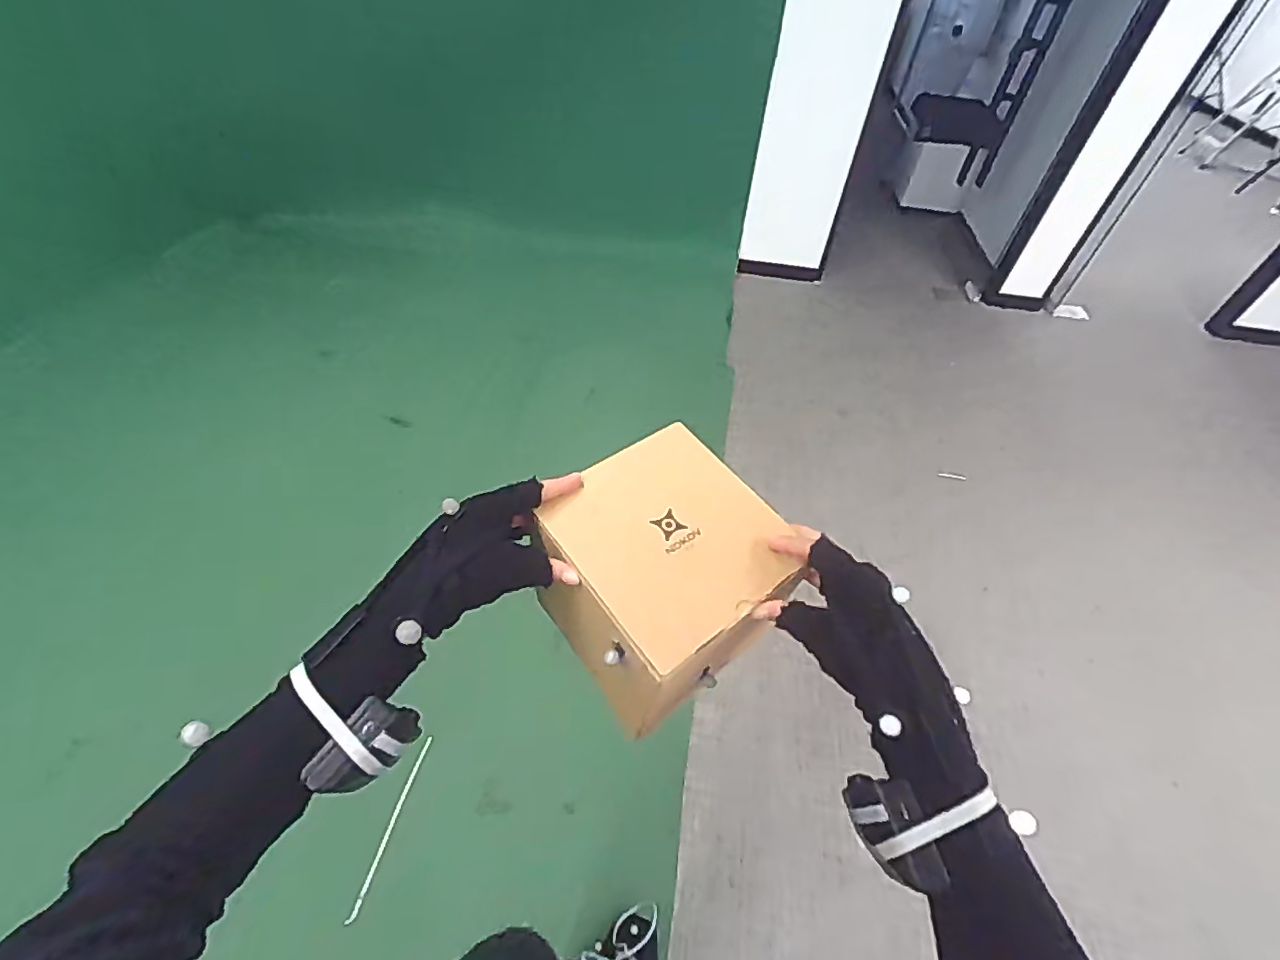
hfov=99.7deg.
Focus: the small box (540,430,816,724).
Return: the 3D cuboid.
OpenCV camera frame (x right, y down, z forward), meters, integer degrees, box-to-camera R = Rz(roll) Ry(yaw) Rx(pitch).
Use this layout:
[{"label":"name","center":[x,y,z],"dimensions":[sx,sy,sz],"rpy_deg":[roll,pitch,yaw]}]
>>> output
[{"label":"small box","center":[0.020,0.091,0.504],"dimensions":[0.168,0.176,0.179],"rpy_deg":[-29,62,-26]}]
